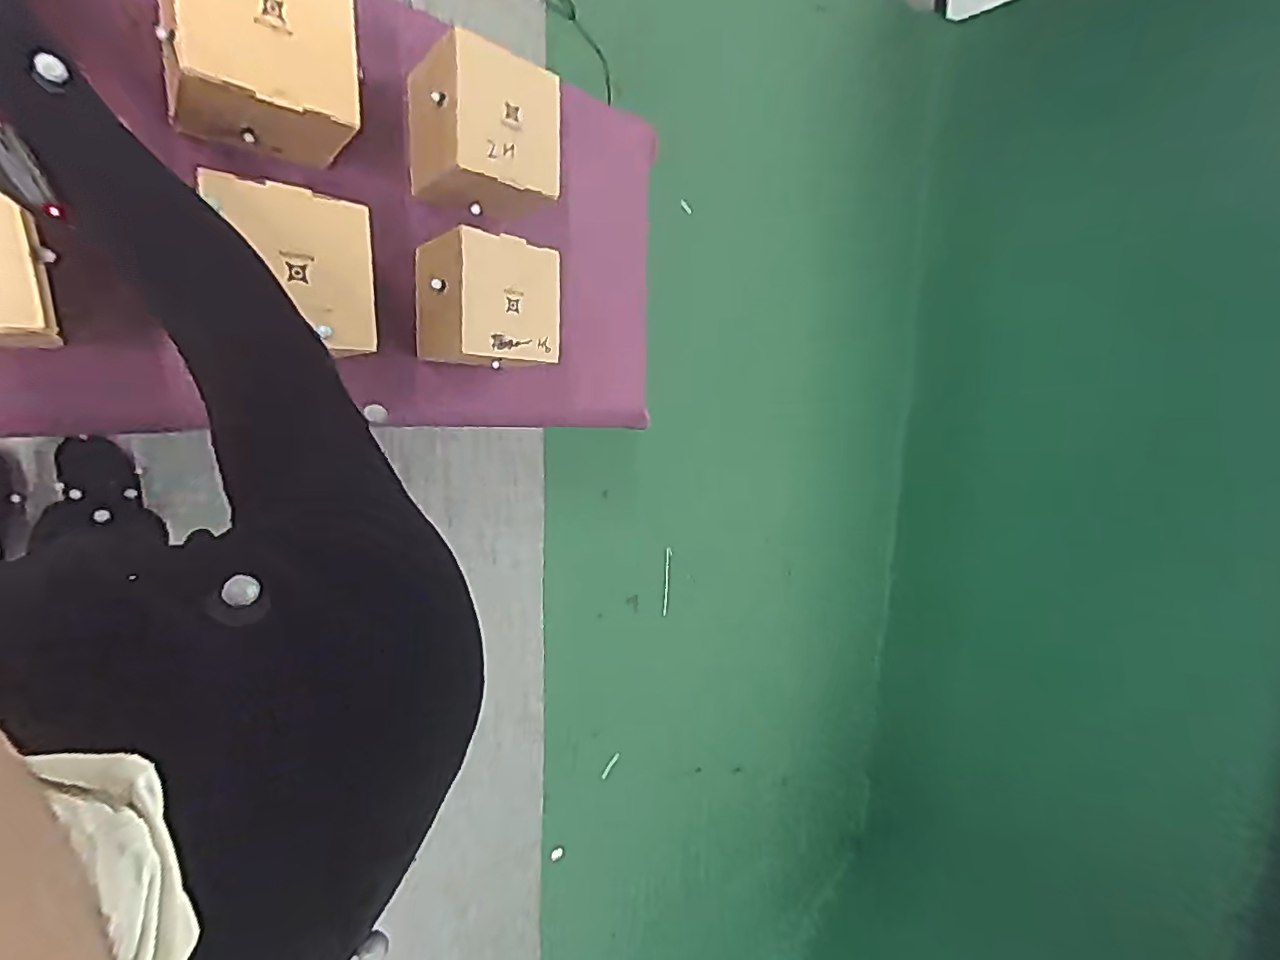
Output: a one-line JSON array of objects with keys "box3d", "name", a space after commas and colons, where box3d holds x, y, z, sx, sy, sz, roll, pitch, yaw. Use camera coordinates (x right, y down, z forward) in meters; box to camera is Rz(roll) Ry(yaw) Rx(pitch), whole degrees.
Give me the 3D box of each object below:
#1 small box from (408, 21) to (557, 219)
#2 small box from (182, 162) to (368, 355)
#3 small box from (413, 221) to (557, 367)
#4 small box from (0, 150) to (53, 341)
[{"box3d": [-0.241, -0.524, 0.819, 0.168, 0.176, 0.179, -5, 101, -42], "name": "small box"}, {"box3d": [-0.453, -0.254, 0.671, 0.168, 0.176, 0.179, -6, 101, -41], "name": "small box"}, {"box3d": [-0.248, -0.279, 0.855, 0.168, 0.176, 0.179, -4, 99, -42], "name": "small box"}, {"box3d": [-0.661, -0.220, 0.478, 0.168, 0.176, 0.179, -11, 102, -42], "name": "small box"}]
